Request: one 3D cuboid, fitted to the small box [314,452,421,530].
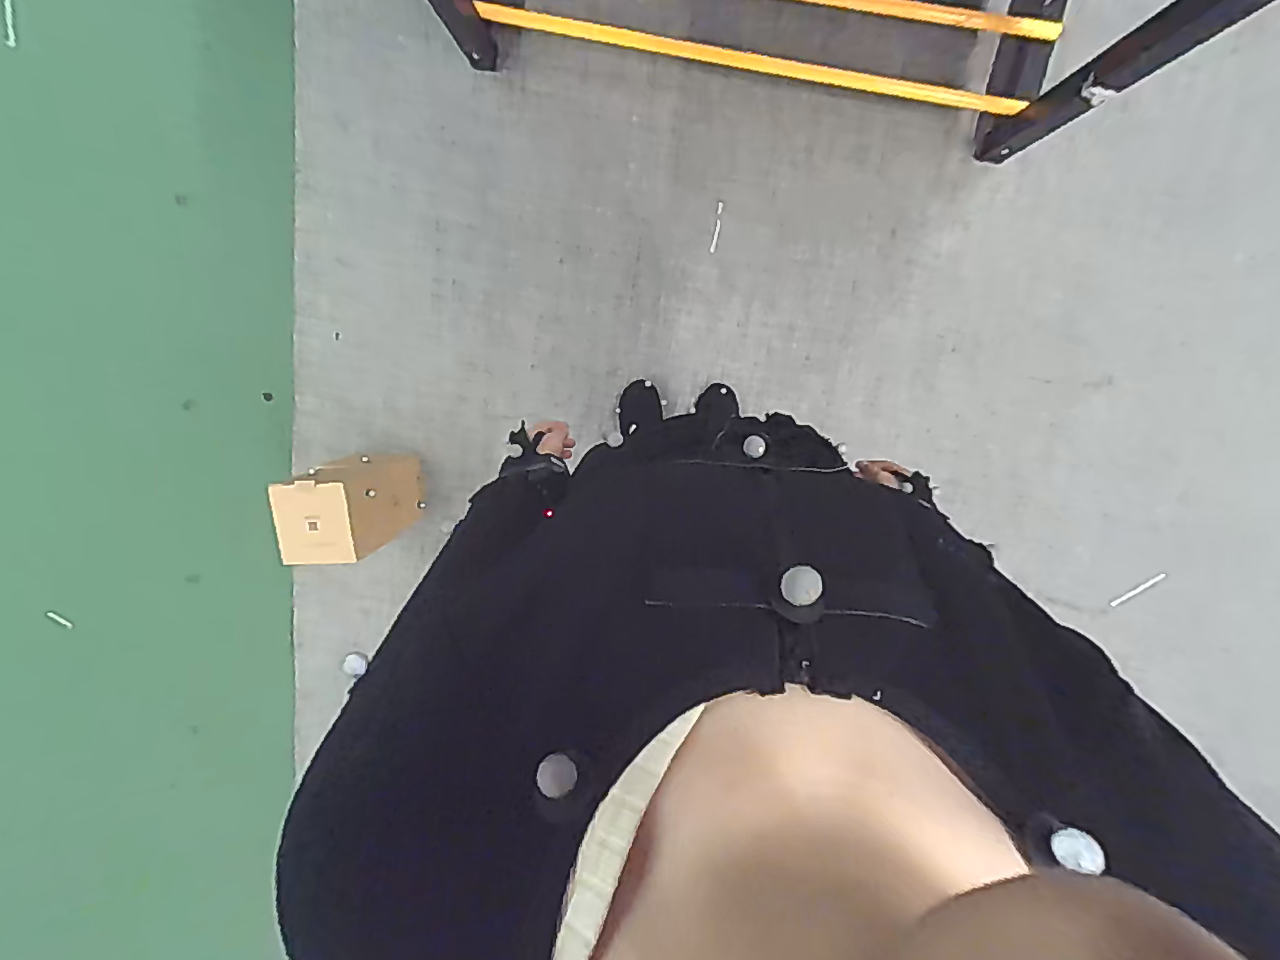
[{"bbox_3d":[-0.660,0.023,1.336,0.179,0.176,0.168,0,103,4],"label":"small box"}]

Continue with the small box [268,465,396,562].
[{"bbox_3d":[-0.660,0.066,1.179,0.168,0.176,0.179,-2,103,5],"label":"small box"}]
